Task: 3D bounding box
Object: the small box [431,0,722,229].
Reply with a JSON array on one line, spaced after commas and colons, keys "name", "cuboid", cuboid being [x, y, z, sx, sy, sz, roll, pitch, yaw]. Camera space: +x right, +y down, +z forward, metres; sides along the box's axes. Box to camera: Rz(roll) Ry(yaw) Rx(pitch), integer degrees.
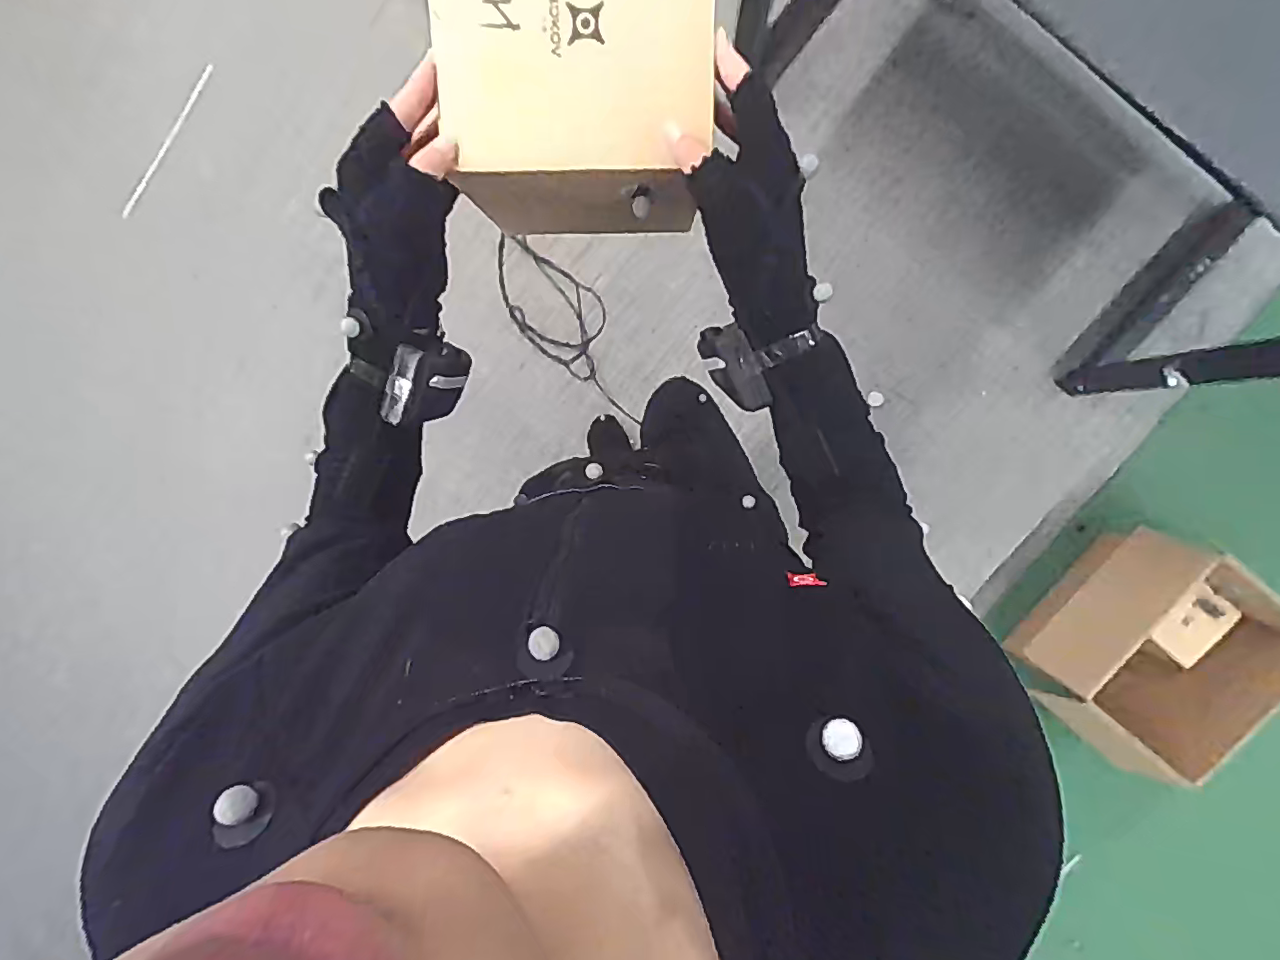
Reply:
[{"name": "small box", "cuboid": [-0.038, -0.295, 0.401, 0.179, 0.176, 0.168, 1, 101, 0]}]
